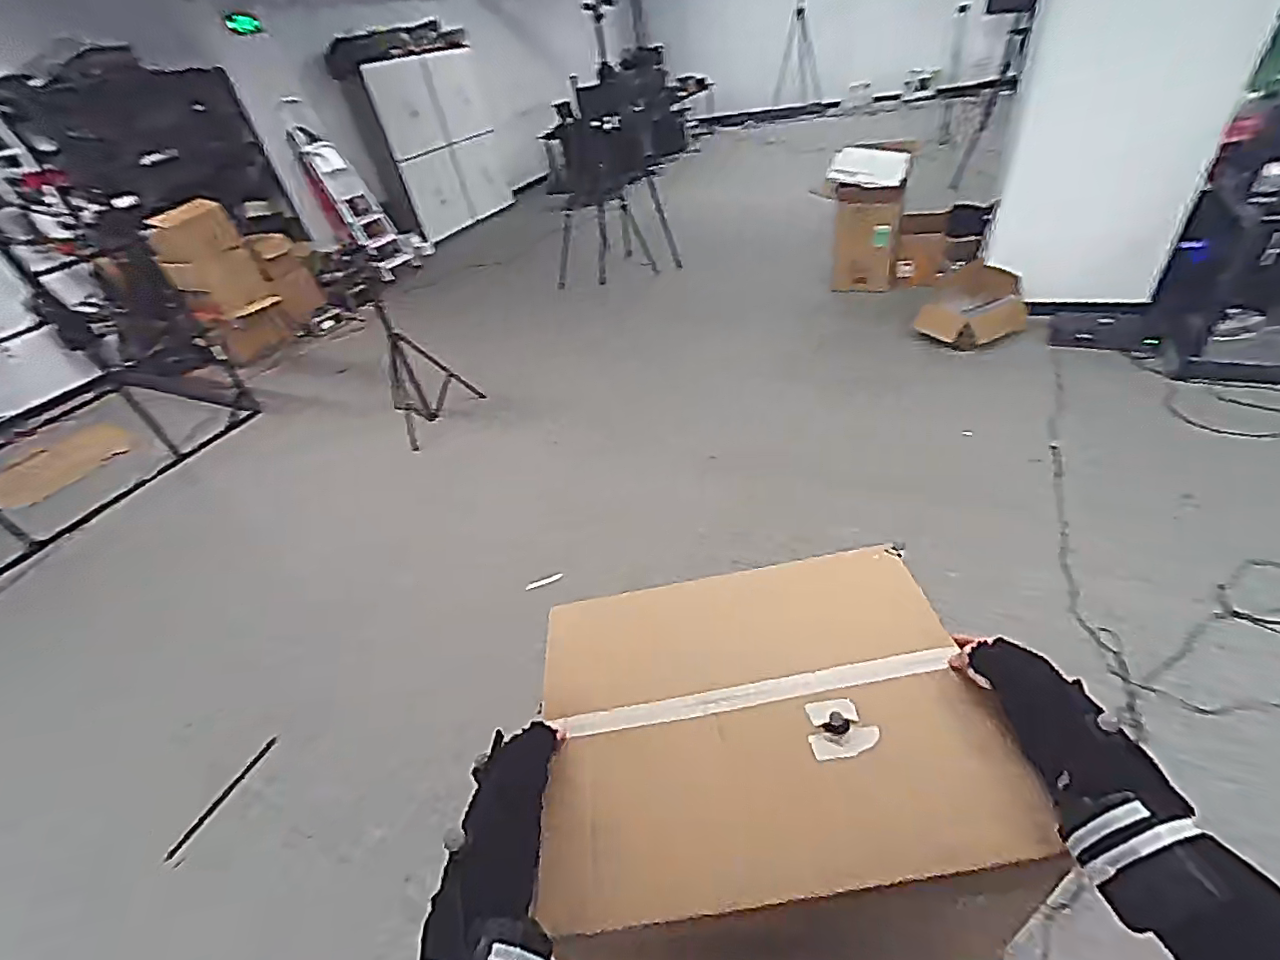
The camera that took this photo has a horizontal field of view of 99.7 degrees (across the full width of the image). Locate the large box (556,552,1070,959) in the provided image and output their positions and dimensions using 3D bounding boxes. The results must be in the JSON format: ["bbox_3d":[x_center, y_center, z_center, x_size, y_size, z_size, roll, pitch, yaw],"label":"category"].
[{"bbox_3d":[0.141,0.330,0.612,0.408,0.320,0.320,-11,37,3],"label":"large box"}]
